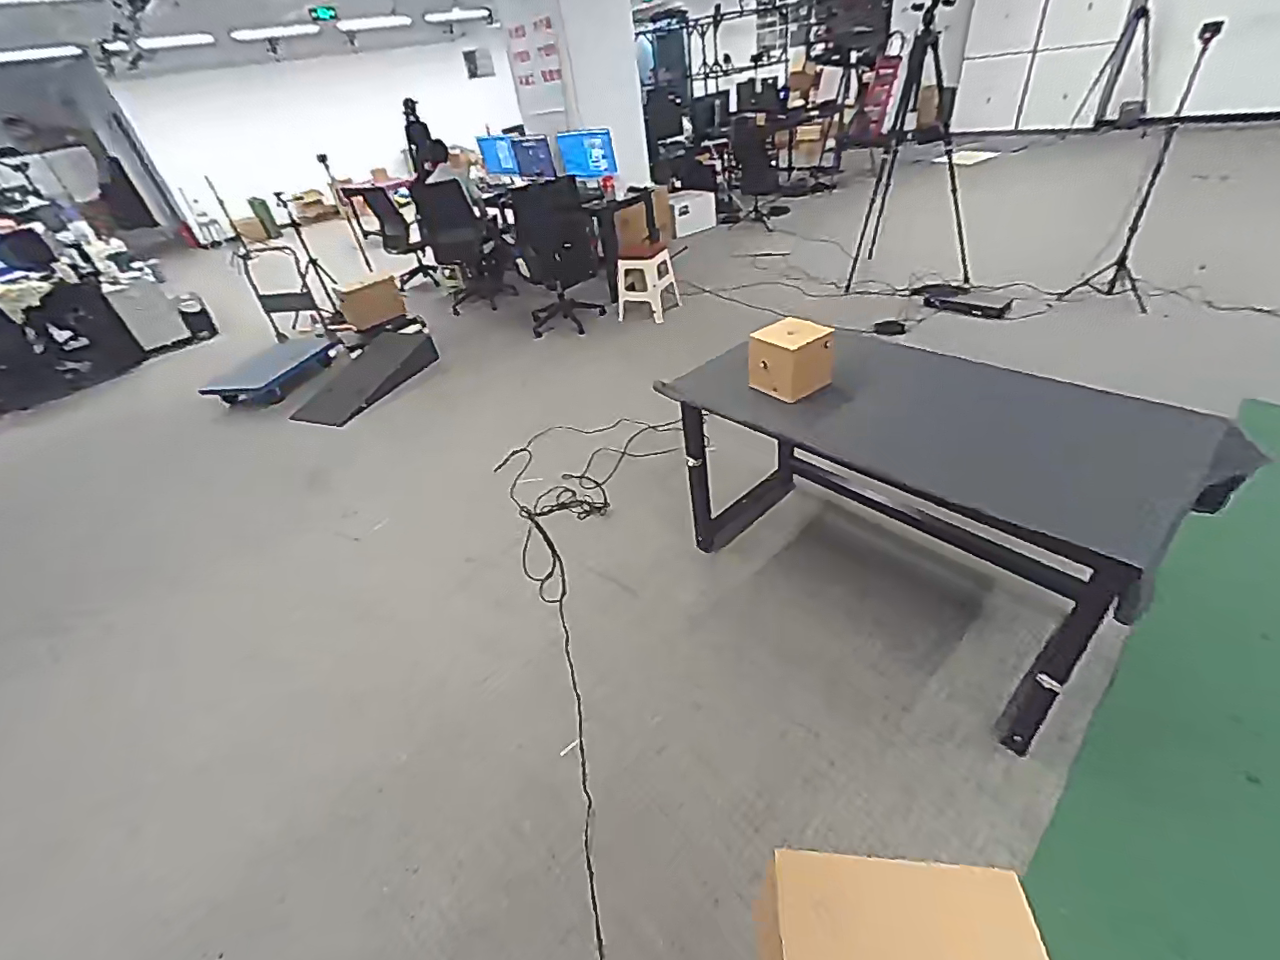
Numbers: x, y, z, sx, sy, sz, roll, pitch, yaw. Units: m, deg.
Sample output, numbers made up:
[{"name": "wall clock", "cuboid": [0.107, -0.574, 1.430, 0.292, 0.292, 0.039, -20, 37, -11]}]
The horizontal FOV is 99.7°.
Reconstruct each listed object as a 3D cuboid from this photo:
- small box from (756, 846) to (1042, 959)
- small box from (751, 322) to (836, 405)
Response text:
[{"name": "small box", "cuboid": [0.173, 0.386, 0.370, 0.168, 0.176, 0.179, 0, 38, 6]}, {"name": "small box", "cuboid": [0.442, -0.336, 1.567, 0.179, 0.176, 0.168, -28, 40, -25]}]
